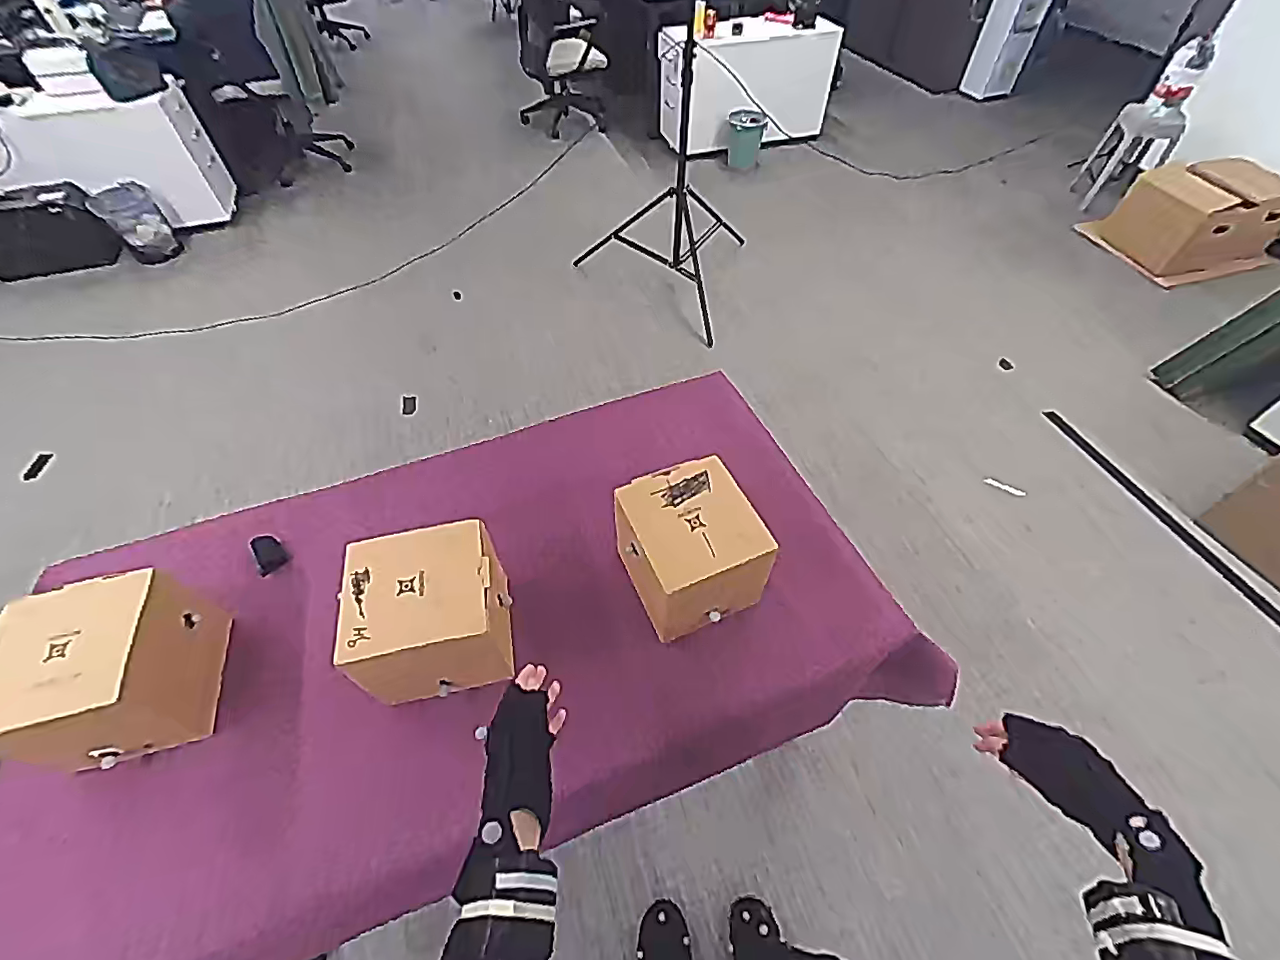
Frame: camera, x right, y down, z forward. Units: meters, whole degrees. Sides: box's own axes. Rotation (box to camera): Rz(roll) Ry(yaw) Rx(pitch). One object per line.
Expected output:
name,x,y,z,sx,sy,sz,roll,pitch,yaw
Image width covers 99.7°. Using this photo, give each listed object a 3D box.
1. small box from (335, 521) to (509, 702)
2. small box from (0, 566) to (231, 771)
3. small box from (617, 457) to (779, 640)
small box,-0.277,0.180,0.730,0.179,0.176,0.168,-10,52,-8
small box,-0.662,0.240,0.684,0.168,0.176,0.179,-14,54,-9
small box,0.073,0.101,0.788,0.168,0.176,0.179,-19,55,-14
